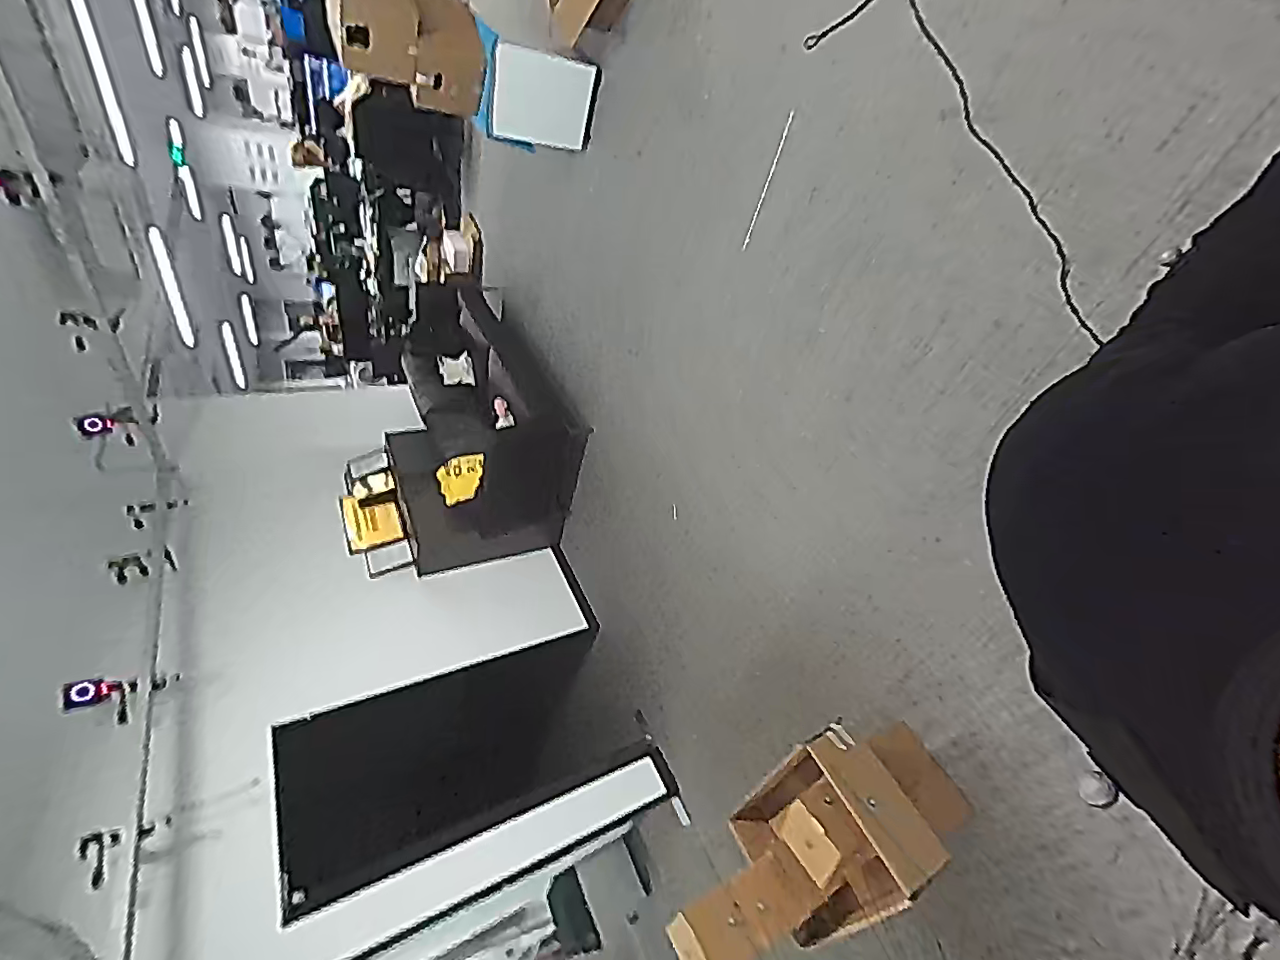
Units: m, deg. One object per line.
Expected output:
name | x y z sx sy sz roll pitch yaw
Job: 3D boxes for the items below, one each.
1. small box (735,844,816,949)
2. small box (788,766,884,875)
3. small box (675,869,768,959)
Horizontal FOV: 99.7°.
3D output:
small box | 0.373 1.200 1.573 0.179 0.176 0.168 50 139 39
small box | 0.551 0.945 1.517 0.168 0.176 0.179 44 135 47
small box | 0.227 1.230 1.500 0.168 0.176 0.179 51 139 37
